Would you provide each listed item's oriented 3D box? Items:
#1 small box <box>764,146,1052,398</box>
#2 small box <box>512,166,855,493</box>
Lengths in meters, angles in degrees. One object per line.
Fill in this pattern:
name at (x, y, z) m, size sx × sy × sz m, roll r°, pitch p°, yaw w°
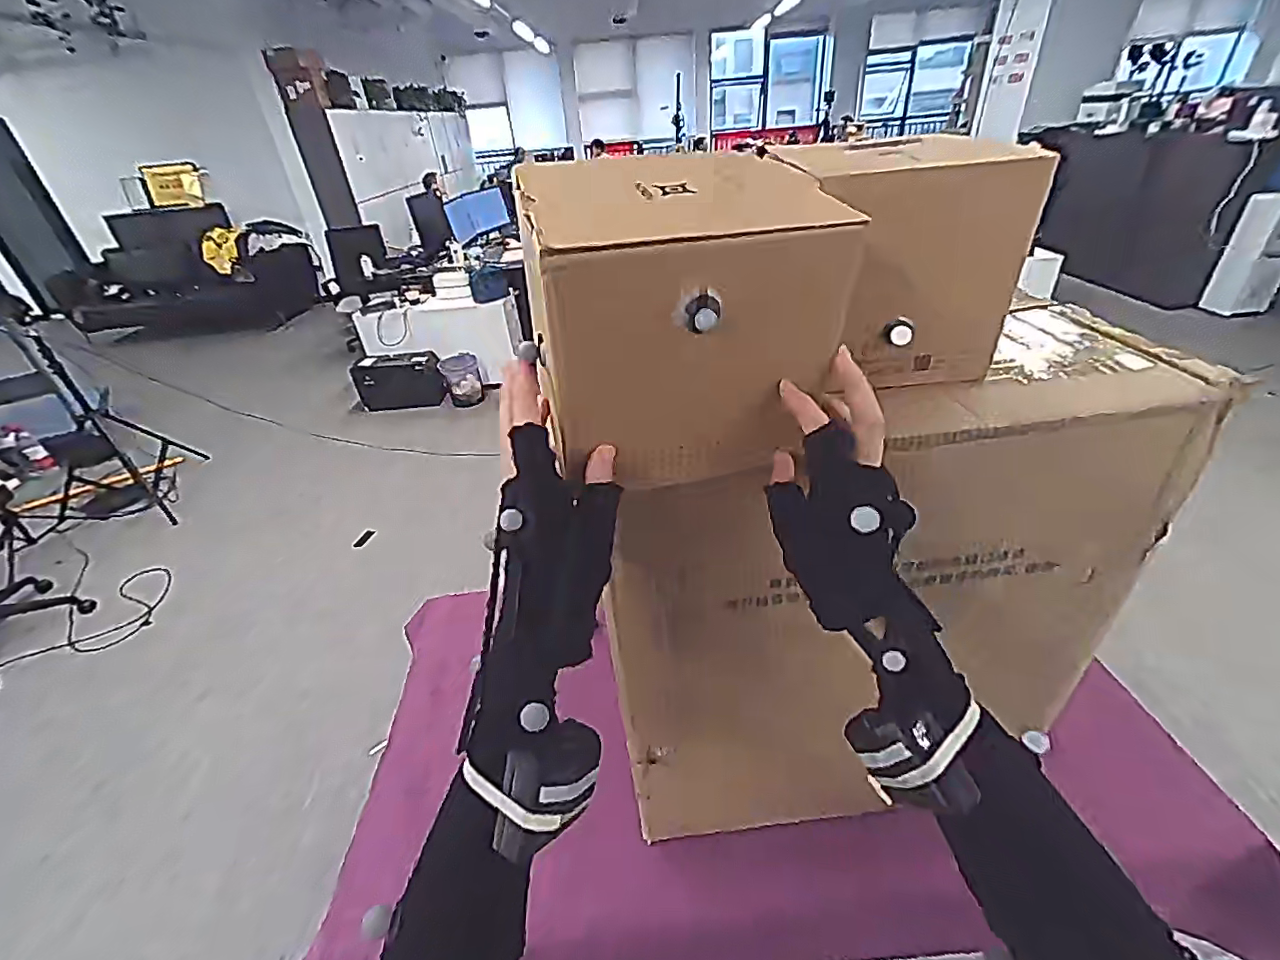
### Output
small box at (0.203, -0.188, 0.482) m, size 0.168 × 0.176 × 0.179 m, roll -5°, pitch 36°, yaw 1°
small box at (0.014, -0.108, 0.382) m, size 0.179 × 0.176 × 0.168 m, roll -9°, pitch 42°, yaw -12°
